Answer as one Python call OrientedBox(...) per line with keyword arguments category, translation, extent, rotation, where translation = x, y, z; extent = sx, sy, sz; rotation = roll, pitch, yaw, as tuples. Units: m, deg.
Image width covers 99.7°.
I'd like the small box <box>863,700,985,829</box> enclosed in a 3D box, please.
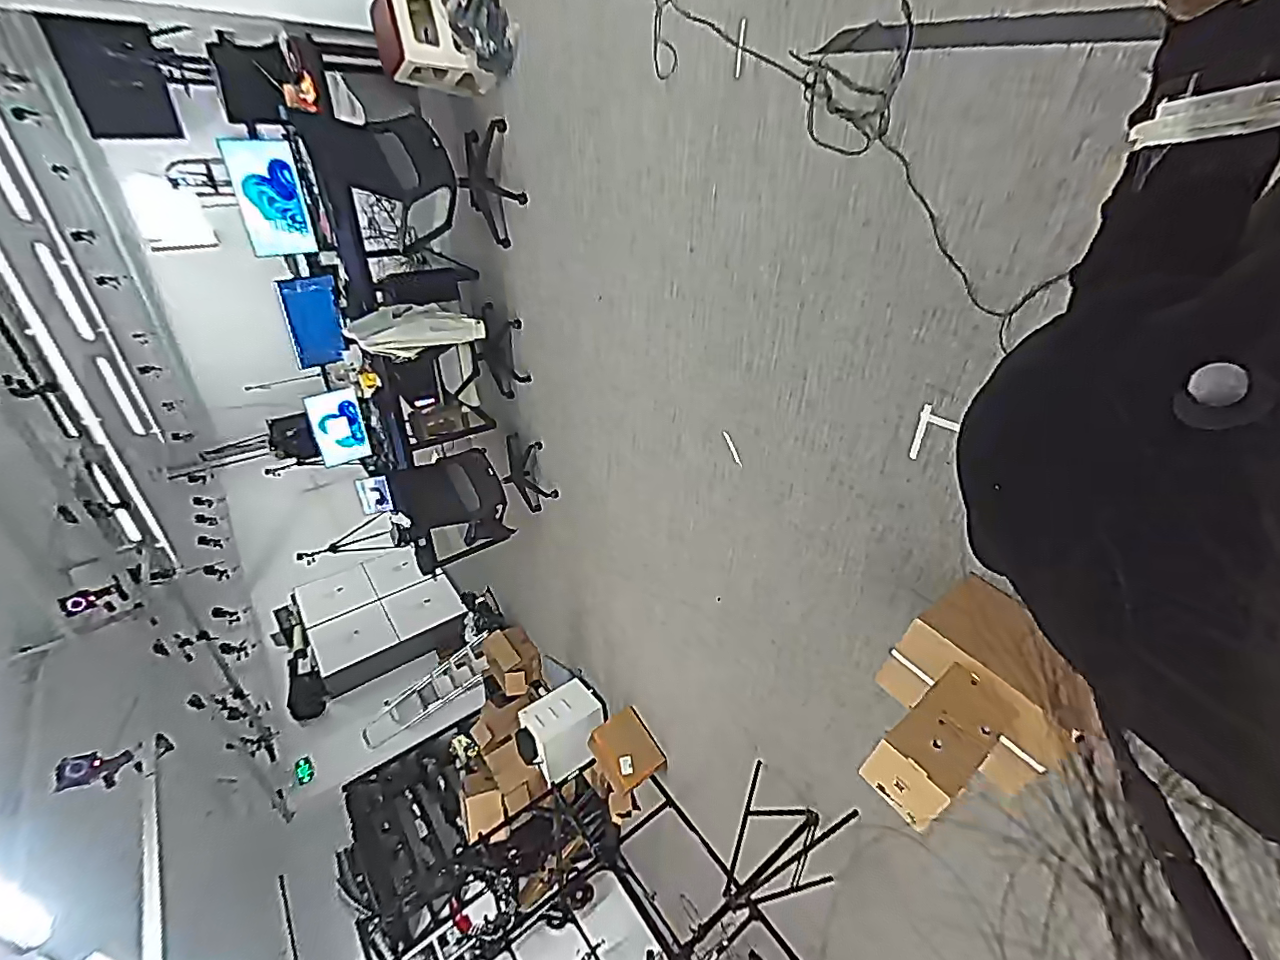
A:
OrientedBox(category="small box", translation=(0.660, 0.651, 1.253), extent=(0.168, 0.176, 0.179), rotation=(41, 139, 37))
